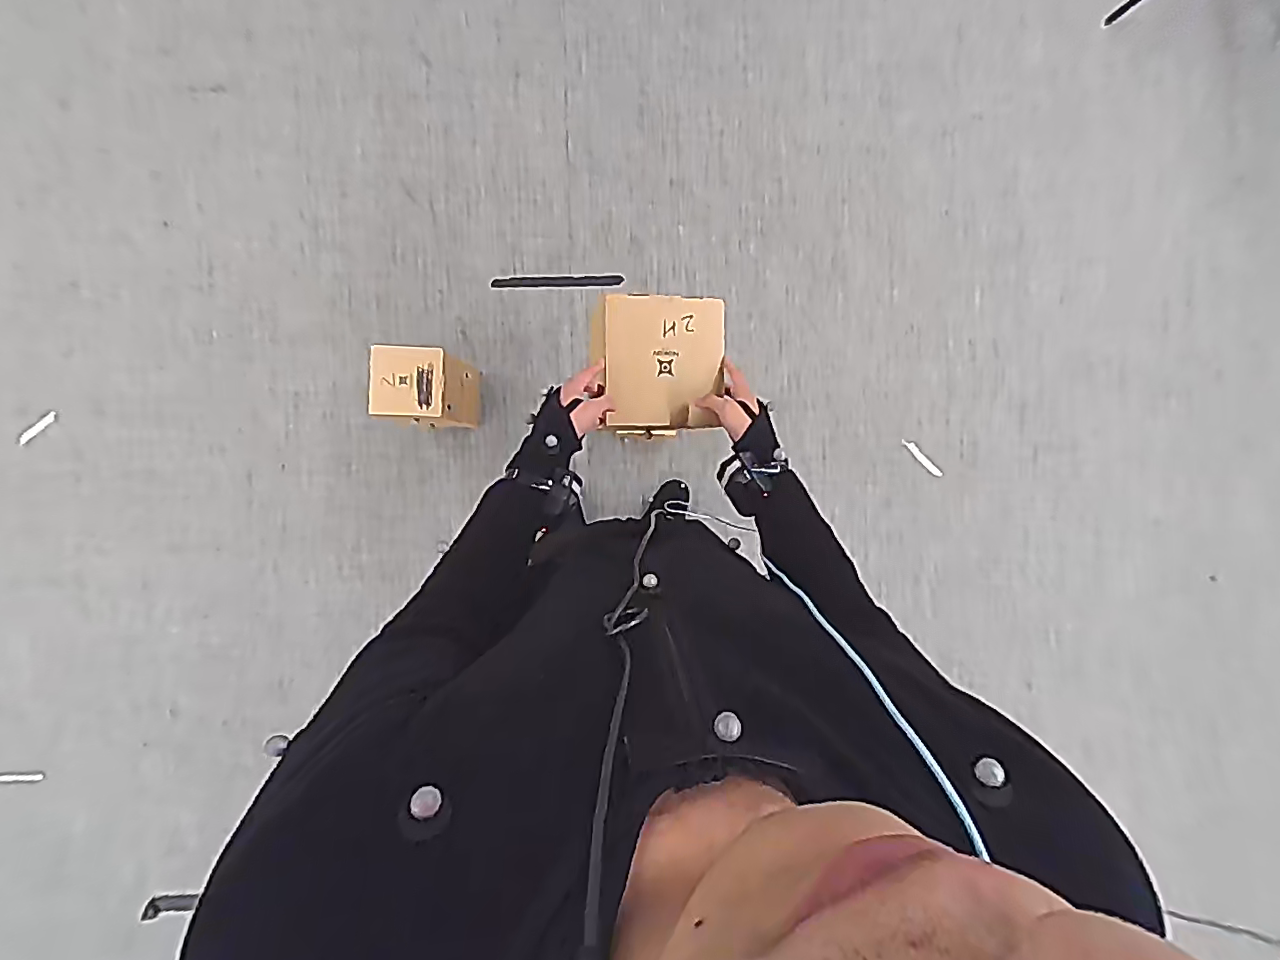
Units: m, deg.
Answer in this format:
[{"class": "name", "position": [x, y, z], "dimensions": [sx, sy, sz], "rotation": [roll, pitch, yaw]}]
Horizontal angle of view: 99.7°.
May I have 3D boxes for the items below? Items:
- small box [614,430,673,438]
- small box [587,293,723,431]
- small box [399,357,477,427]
[{"class": "small box", "position": [0.010, -0.214, 1.548], "dimensions": [0.168, 0.176, 0.179], "rotation": [2, 91, -4]}, {"class": "small box", "position": [0.014, -0.161, 0.794], "dimensions": [0.168, 0.176, 0.179], "rotation": [-1, 94, -12]}, {"class": "small box", "position": [-0.562, -0.242, 1.520], "dimensions": [0.168, 0.176, 0.179], "rotation": [1, 91, -2]}]
